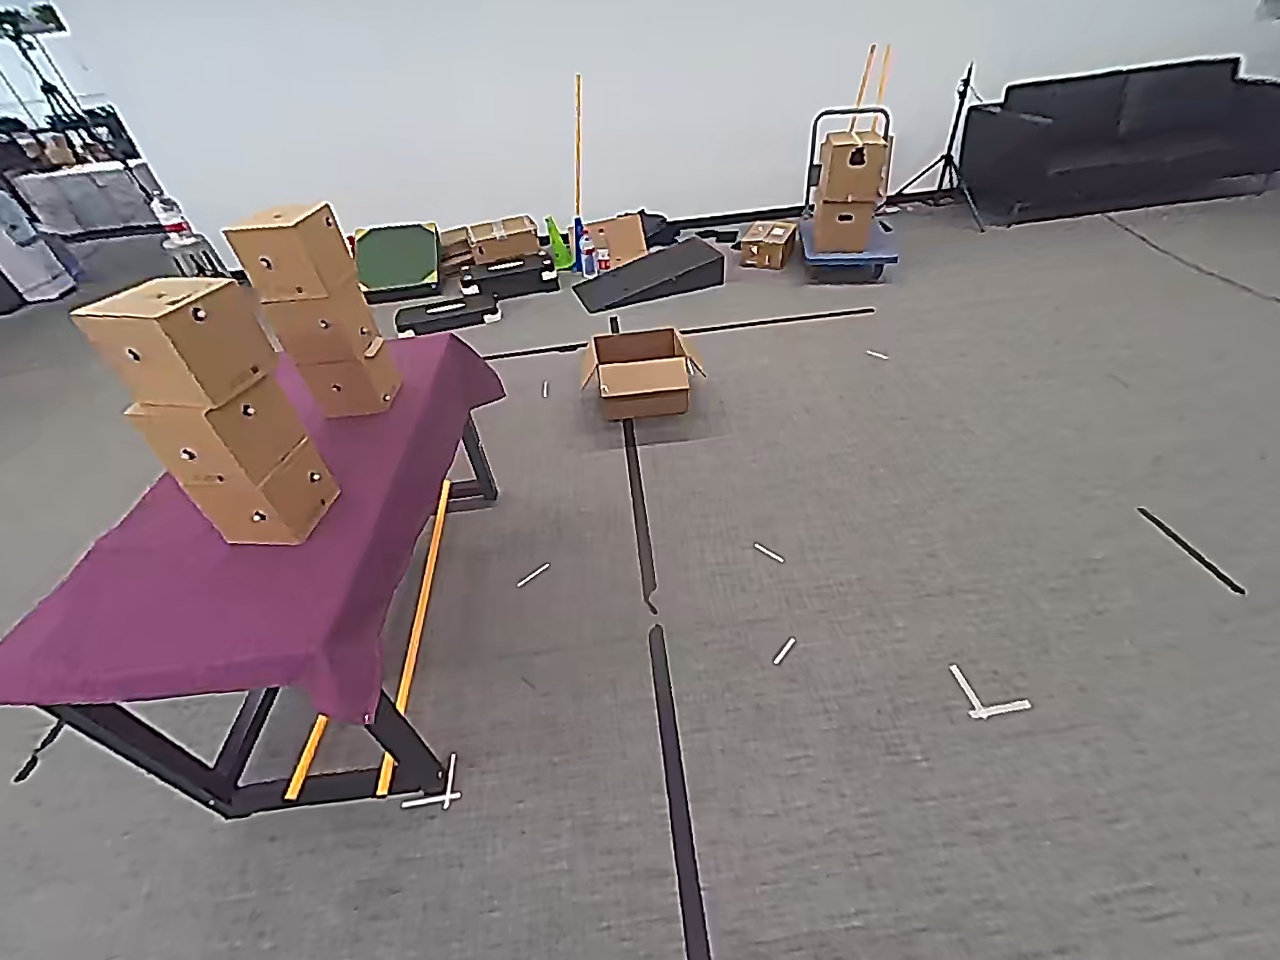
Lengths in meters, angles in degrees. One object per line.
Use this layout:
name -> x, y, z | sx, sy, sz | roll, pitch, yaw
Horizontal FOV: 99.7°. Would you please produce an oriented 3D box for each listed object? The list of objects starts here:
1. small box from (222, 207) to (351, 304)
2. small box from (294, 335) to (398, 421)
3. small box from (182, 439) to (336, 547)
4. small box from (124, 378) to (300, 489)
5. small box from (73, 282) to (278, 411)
small box -> -0.822, -0.528, 1.284 | 0.168, 0.176, 0.179 | -3, 41, 3
small box -> -0.800, -0.281, 1.496 | 0.179, 0.176, 0.168 | -6, 41, 2
small box -> -0.791, 0.028, 1.149 | 0.179, 0.176, 0.168 | 0, 41, 7
small box -> -0.806, -0.098, 1.046 | 0.168, 0.176, 0.179 | 2, 41, 7
small box -> -0.798, -0.234, 0.951 | 0.179, 0.176, 0.168 | 4, 41, 12
